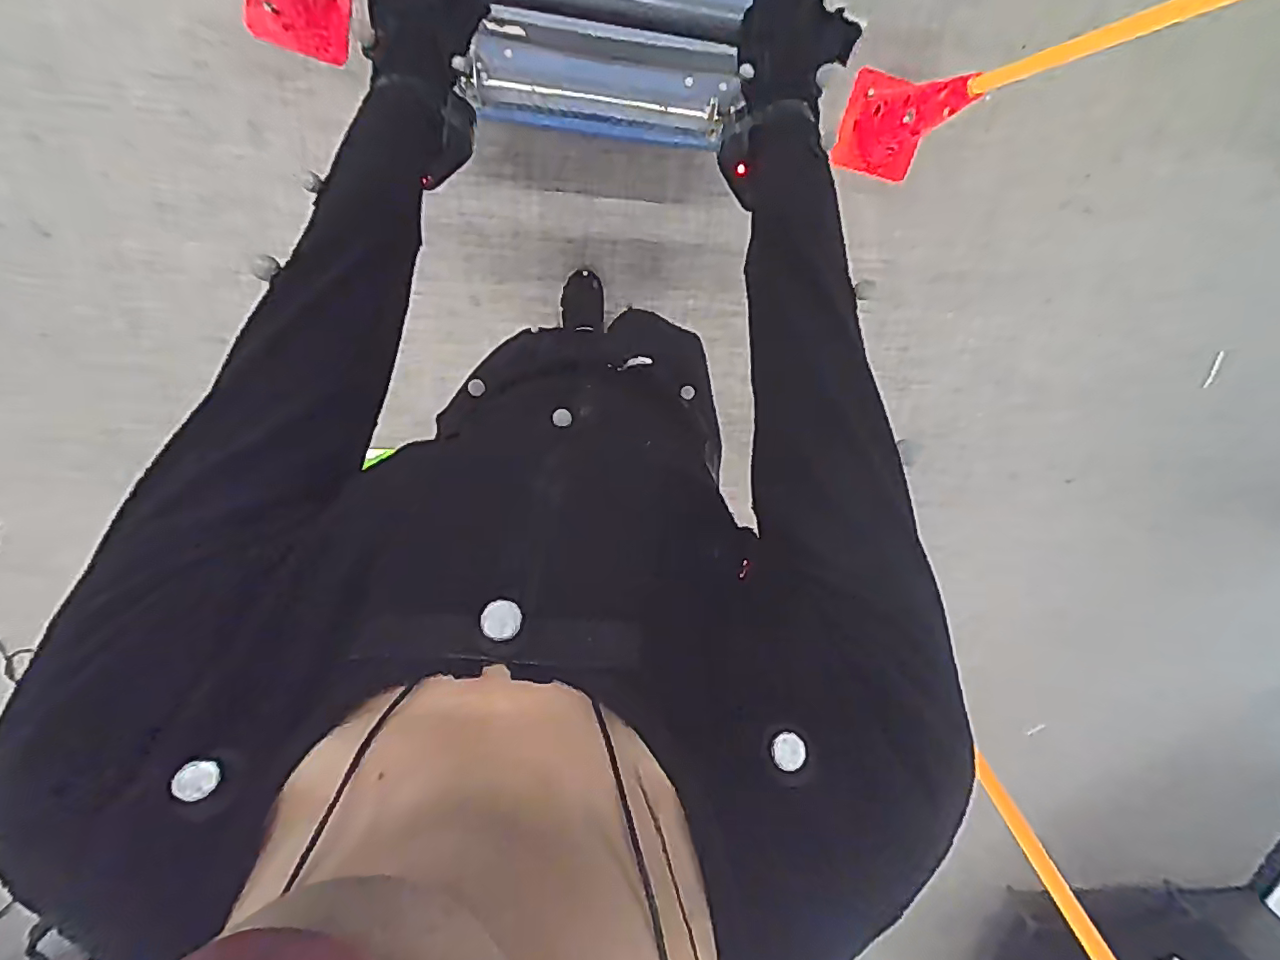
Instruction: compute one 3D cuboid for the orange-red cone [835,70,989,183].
[{"bbox_3d":[0.588,-0.762,1.114,0.198,0.360,0.199,12,112,-9],"label":"orange-red cone"}]
